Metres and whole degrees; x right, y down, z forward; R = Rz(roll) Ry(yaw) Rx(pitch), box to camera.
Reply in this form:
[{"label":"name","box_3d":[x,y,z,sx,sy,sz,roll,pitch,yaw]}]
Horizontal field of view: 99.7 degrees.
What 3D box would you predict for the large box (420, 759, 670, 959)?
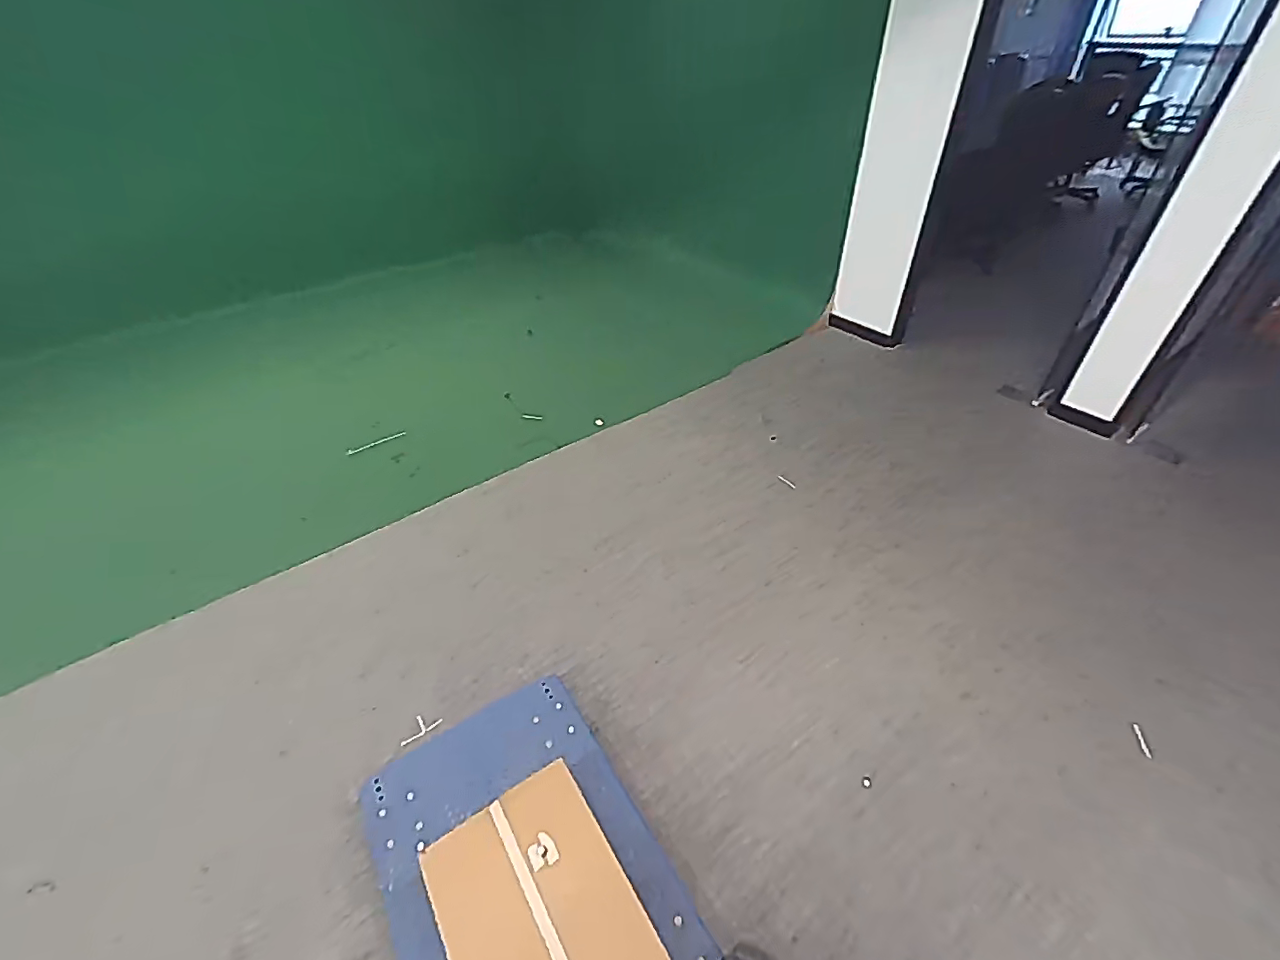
[{"label":"large box","box_3d":[-0.175,0.865,1.060,0.320,0.320,0.408,-25,45,-24]}]
